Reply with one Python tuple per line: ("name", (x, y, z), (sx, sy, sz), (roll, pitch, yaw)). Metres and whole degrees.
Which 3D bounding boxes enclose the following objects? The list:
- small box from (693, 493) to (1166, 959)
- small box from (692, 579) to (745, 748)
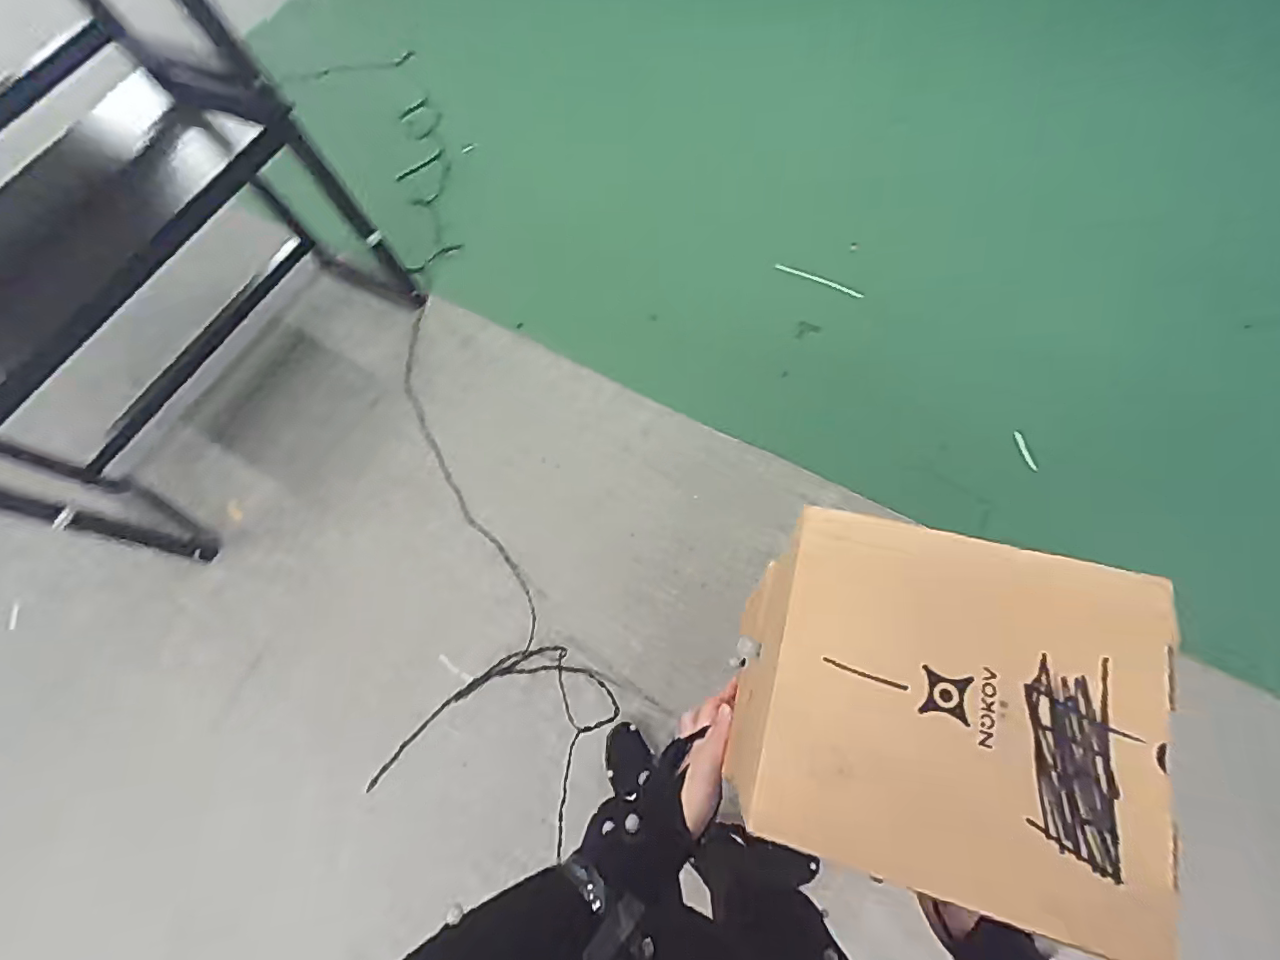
("small box", (0.138, 0.127, 0.312), (0.179, 0.176, 0.168), (15, 73, 12))
("small box", (0.164, 0.234, 0.623), (0.168, 0.176, 0.179), (15, 72, 11))
